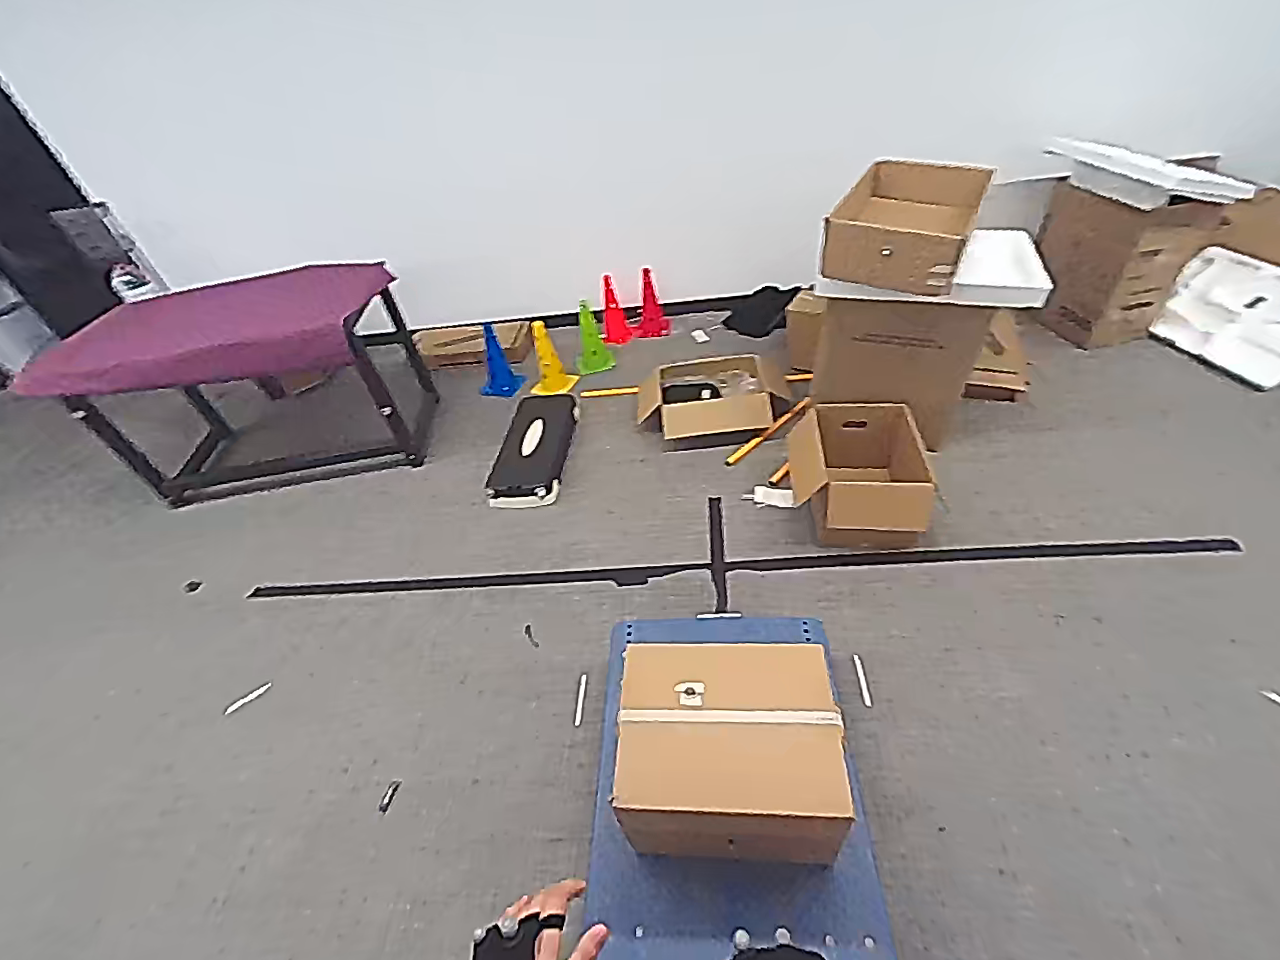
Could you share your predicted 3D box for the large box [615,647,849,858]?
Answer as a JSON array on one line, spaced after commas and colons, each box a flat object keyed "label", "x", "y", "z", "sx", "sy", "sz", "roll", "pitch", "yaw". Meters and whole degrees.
[{"label": "large box", "x": 0.183, "y": 0.569, "z": 1.128, "sx": 0.408, "sy": 0.320, "sz": 0.320, "roll": -3, "pitch": 42, "yaw": 9}]
